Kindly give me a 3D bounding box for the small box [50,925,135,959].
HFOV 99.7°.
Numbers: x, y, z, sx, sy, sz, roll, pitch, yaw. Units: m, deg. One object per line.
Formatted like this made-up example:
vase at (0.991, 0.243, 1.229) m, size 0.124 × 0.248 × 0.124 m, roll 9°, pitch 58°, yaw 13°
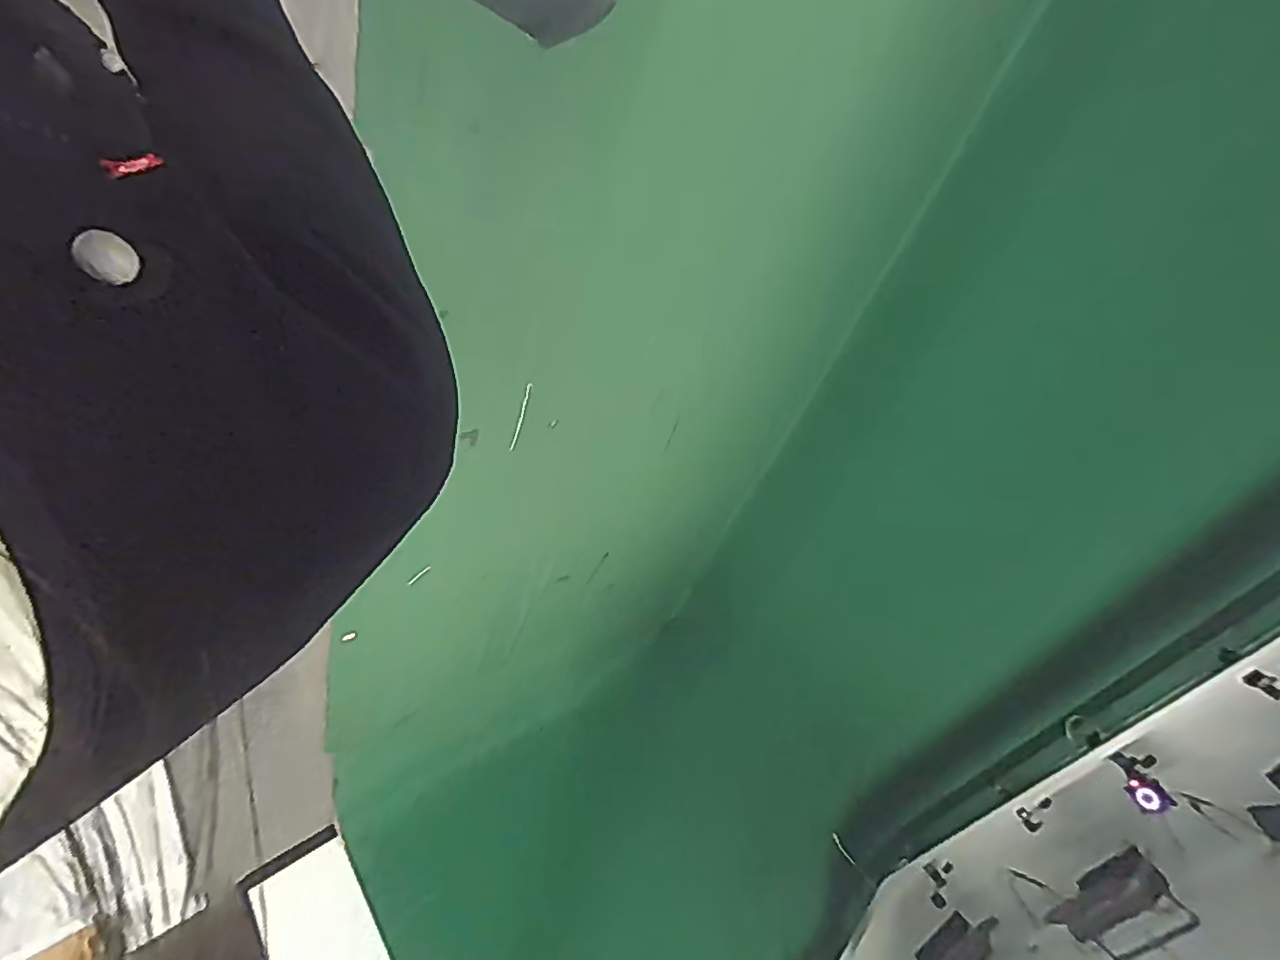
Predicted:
small box at (-1.356, 1.246, 1.318) m, size 0.179 × 0.176 × 0.168 m, roll -15°, pitch 138°, yaw -43°
